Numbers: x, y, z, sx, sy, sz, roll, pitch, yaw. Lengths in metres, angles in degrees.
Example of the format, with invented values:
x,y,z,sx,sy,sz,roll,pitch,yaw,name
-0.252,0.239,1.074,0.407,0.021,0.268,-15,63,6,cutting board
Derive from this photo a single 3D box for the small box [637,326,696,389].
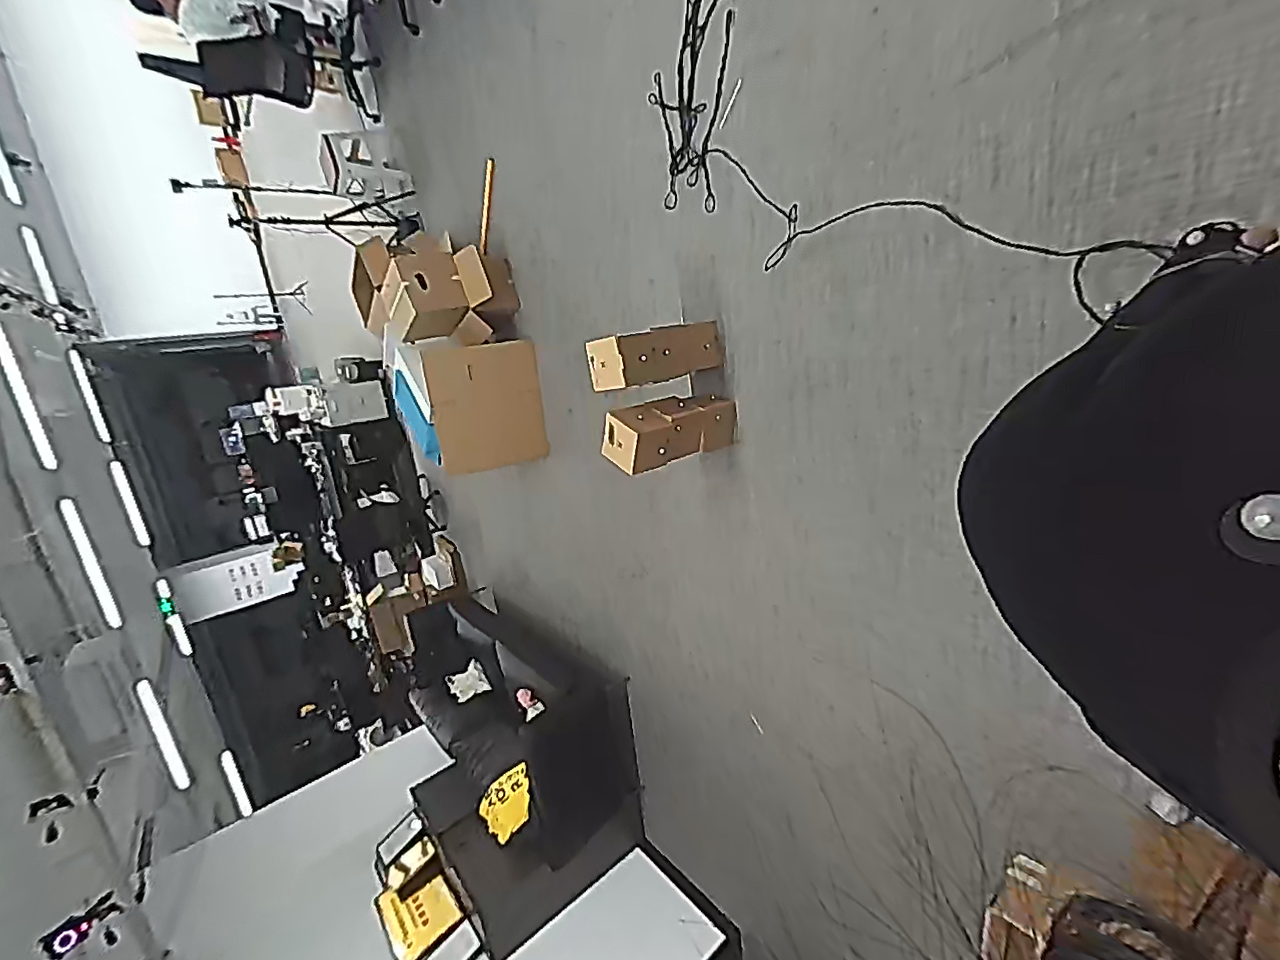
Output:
x,y,z,sx,sy,sz,roll,pitch,yaw,name
0.078,-0.437,1.922,0.168,0.176,0.179,-7,100,52,small box

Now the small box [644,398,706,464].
x,y,z,sx,sy,sz,roll,pitch,yaw,name
0.121,-0.185,1.979,0.168,0.176,0.179,33,128,42,small box

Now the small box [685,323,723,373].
x,y,z,sx,sy,sz,roll,pitch,yaw,name
0.194,-0.486,2.026,0.179,0.176,0.168,1,105,53,small box

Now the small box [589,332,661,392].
x,y,z,sx,sy,sz,roll,pitch,yaw,name
-0.044,-0.397,1.821,0.179,0.176,0.168,5,109,50,small box

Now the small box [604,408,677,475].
x,y,z,sx,sy,sz,roll,pitch,yaw,name
0.000,-0.141,1.877,0.179,0.176,0.168,37,131,38,small box
